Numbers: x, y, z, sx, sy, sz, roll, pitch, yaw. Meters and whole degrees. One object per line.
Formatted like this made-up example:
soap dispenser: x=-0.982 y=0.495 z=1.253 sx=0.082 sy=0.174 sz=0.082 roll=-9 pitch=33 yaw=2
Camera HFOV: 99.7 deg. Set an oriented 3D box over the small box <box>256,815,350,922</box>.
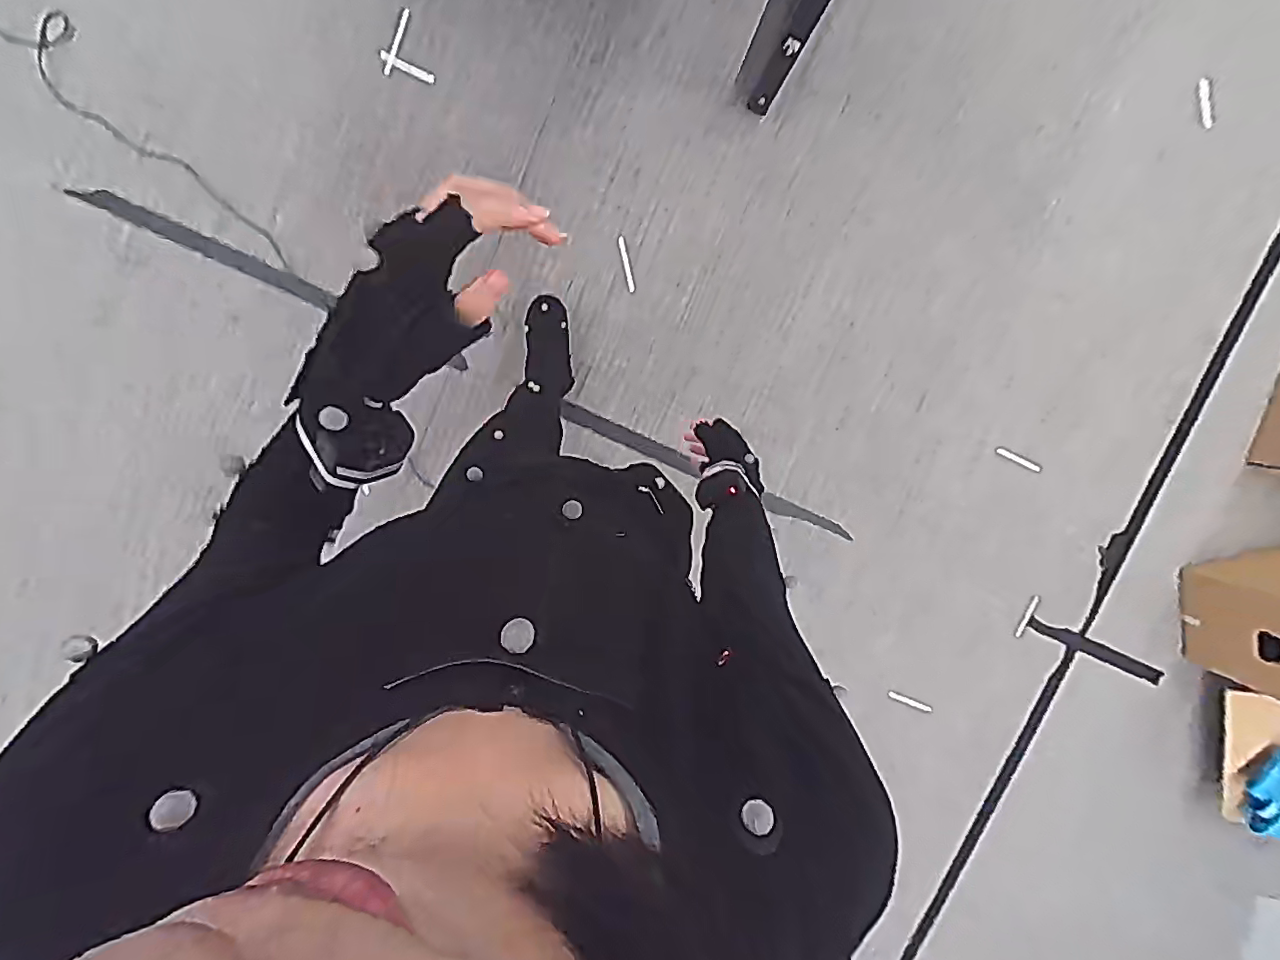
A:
small box: x=-0.916 y=1.060 z=1.481 sx=0.168 sy=0.176 sz=0.179 roll=4 pitch=96 yaw=-6
